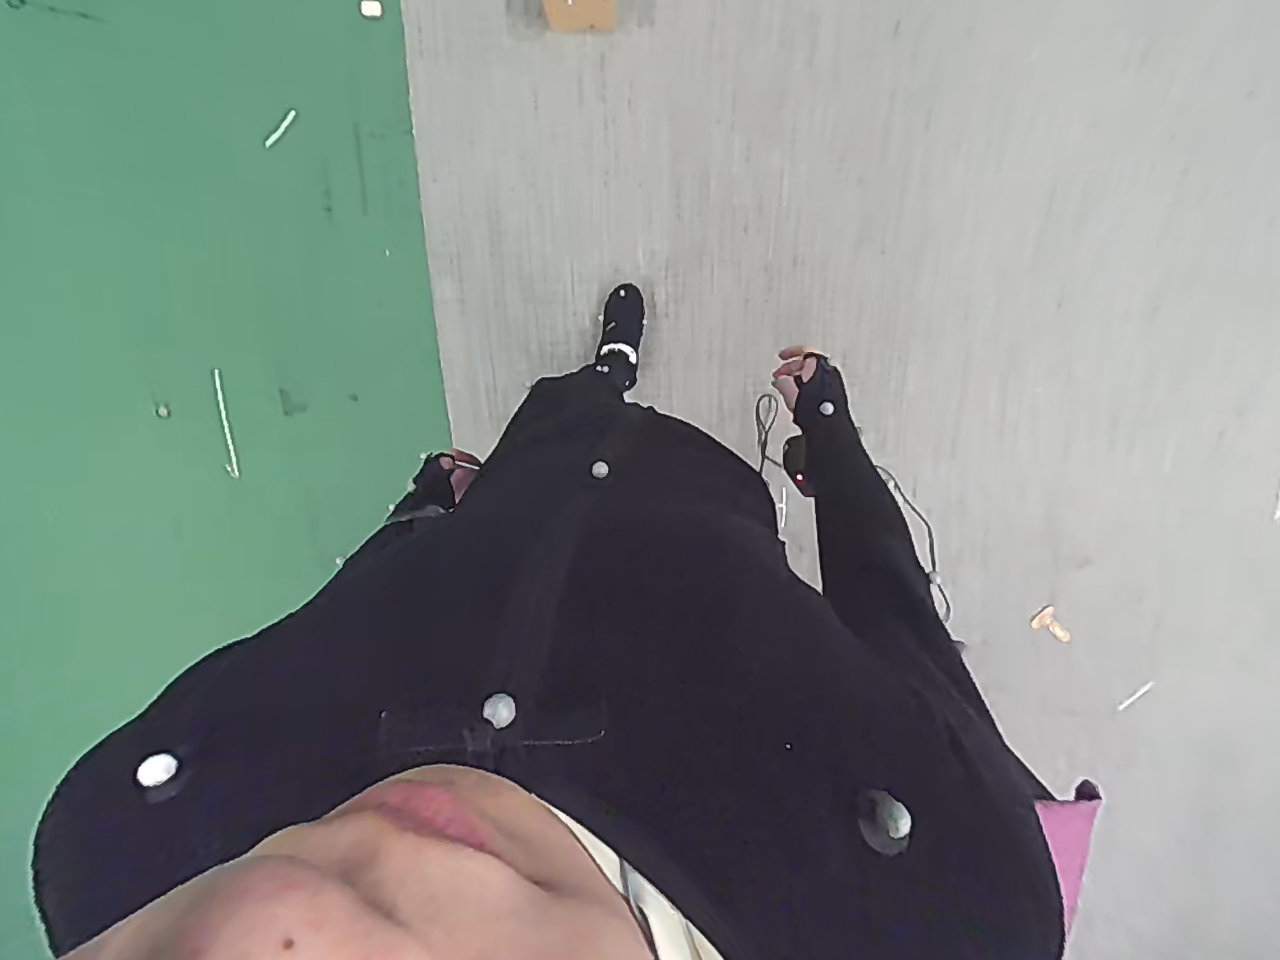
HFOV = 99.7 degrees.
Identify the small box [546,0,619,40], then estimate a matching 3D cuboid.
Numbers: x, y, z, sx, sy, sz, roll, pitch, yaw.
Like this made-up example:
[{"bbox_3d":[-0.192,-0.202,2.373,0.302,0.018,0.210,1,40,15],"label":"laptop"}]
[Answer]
[{"bbox_3d":[-0.135,-1.174,1.259,0.168,0.176,0.179,-1,103,1],"label":"small box"}]
